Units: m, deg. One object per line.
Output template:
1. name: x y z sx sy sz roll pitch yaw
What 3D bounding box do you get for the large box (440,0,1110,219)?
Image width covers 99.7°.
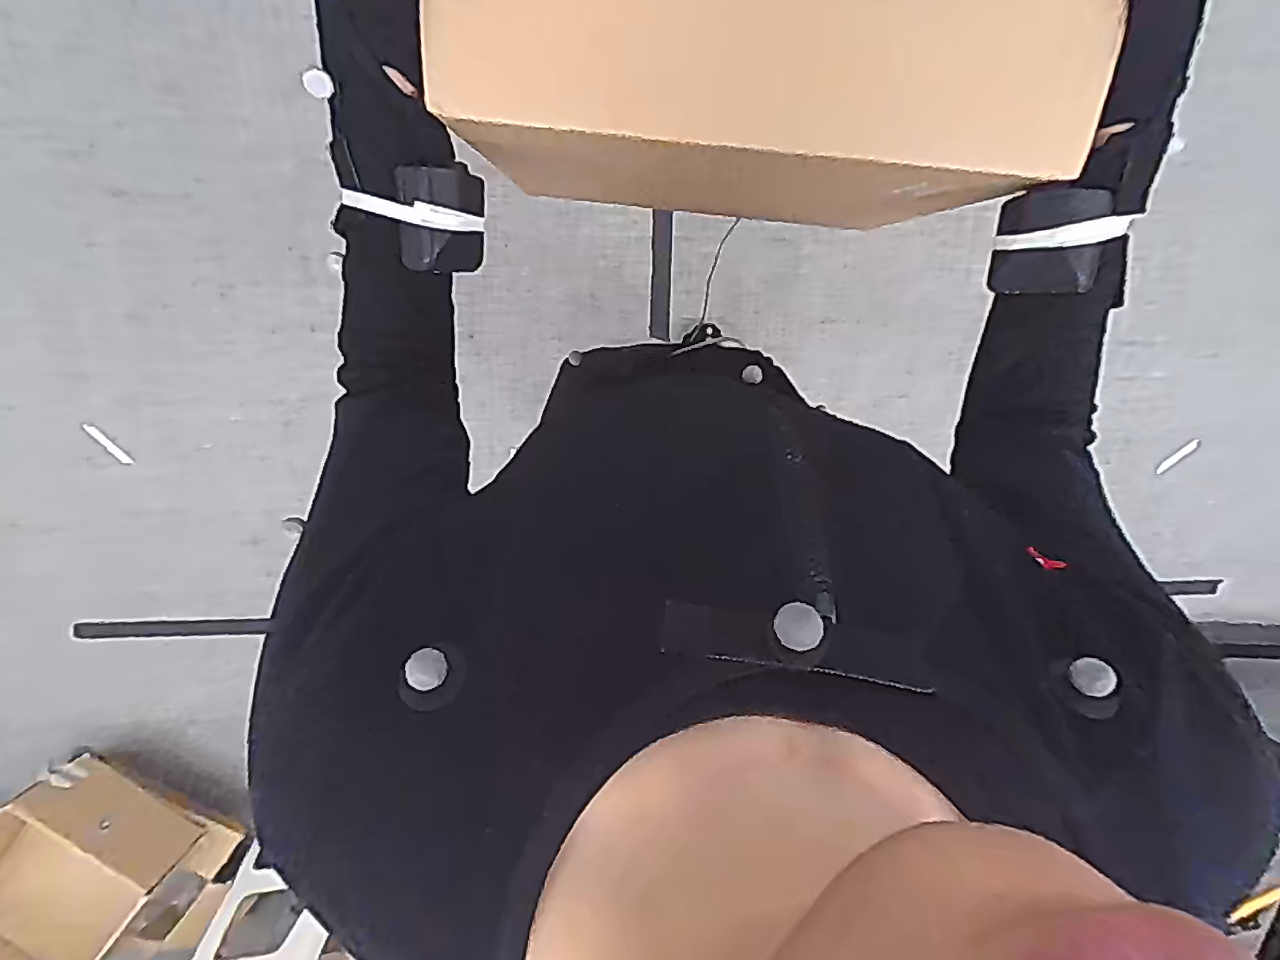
1. large box: 0.082 -0.408 0.431 0.408 0.320 0.320 4 111 -3
